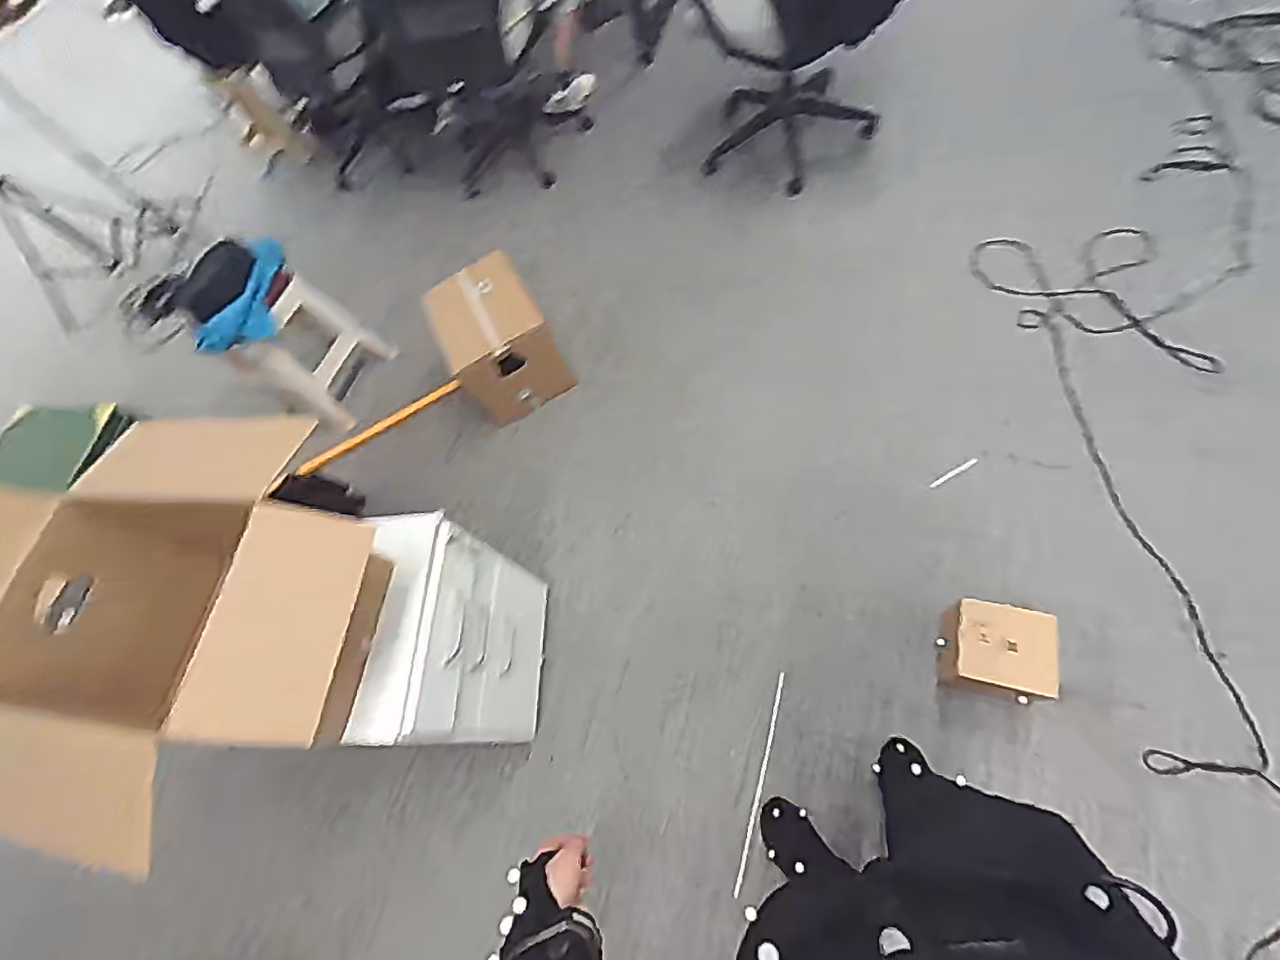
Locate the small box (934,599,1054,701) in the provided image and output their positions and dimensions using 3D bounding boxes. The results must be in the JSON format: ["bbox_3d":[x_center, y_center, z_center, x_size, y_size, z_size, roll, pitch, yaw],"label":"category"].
[{"bbox_3d":[0.758,0.371,1.169,0.179,0.176,0.168,9,68,19],"label":"small box"}]
